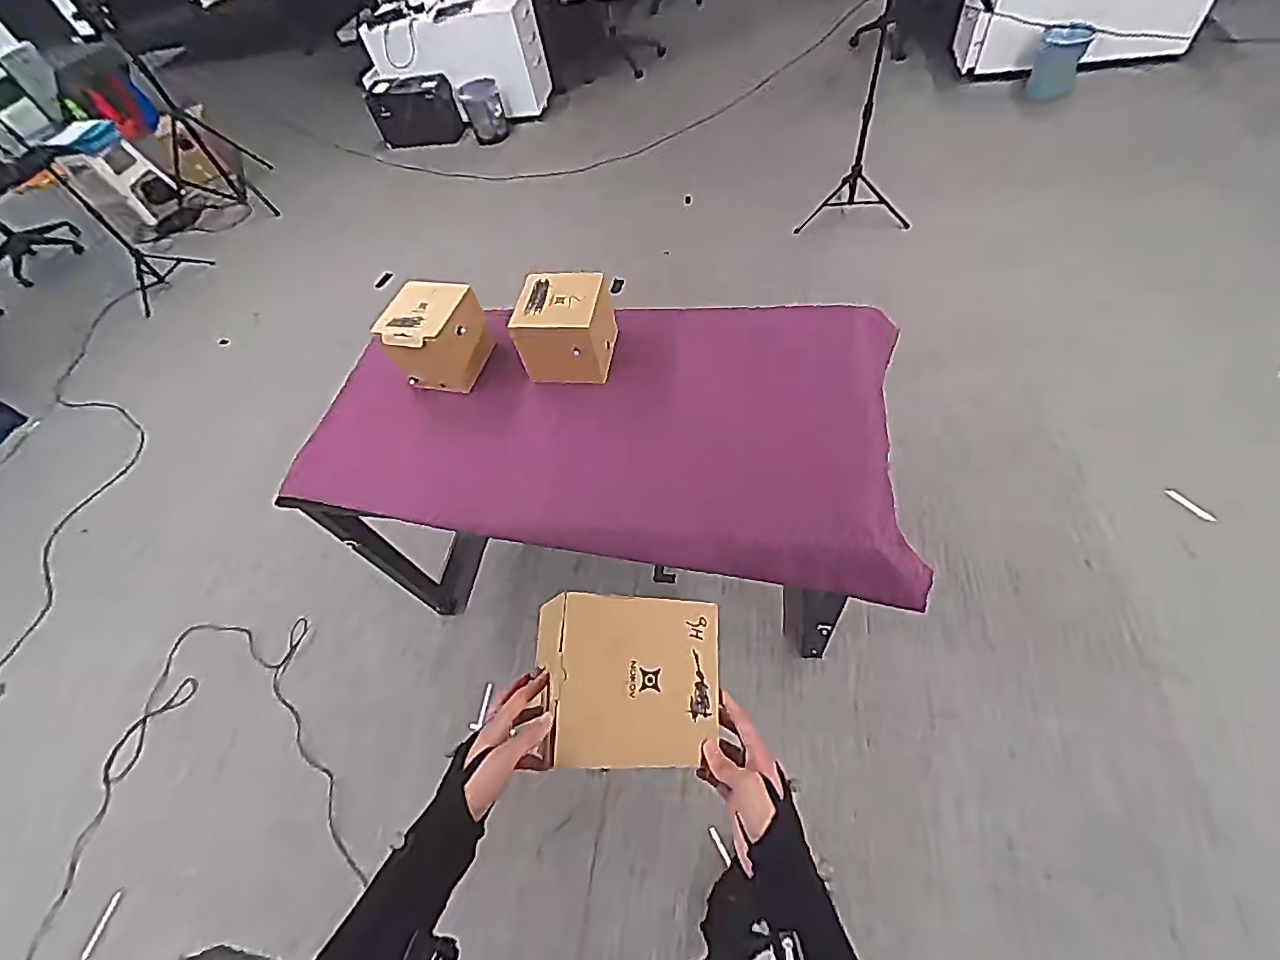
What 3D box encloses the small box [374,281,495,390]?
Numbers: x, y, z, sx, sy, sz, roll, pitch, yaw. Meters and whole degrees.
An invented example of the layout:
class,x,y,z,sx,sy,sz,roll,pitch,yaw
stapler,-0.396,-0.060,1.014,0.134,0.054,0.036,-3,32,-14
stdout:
class,x,y,z,sx,sy,sz,roll,pitch,yaw
small box,-0.453,-0.325,1.231,0.168,0.176,0.179,9,59,15
